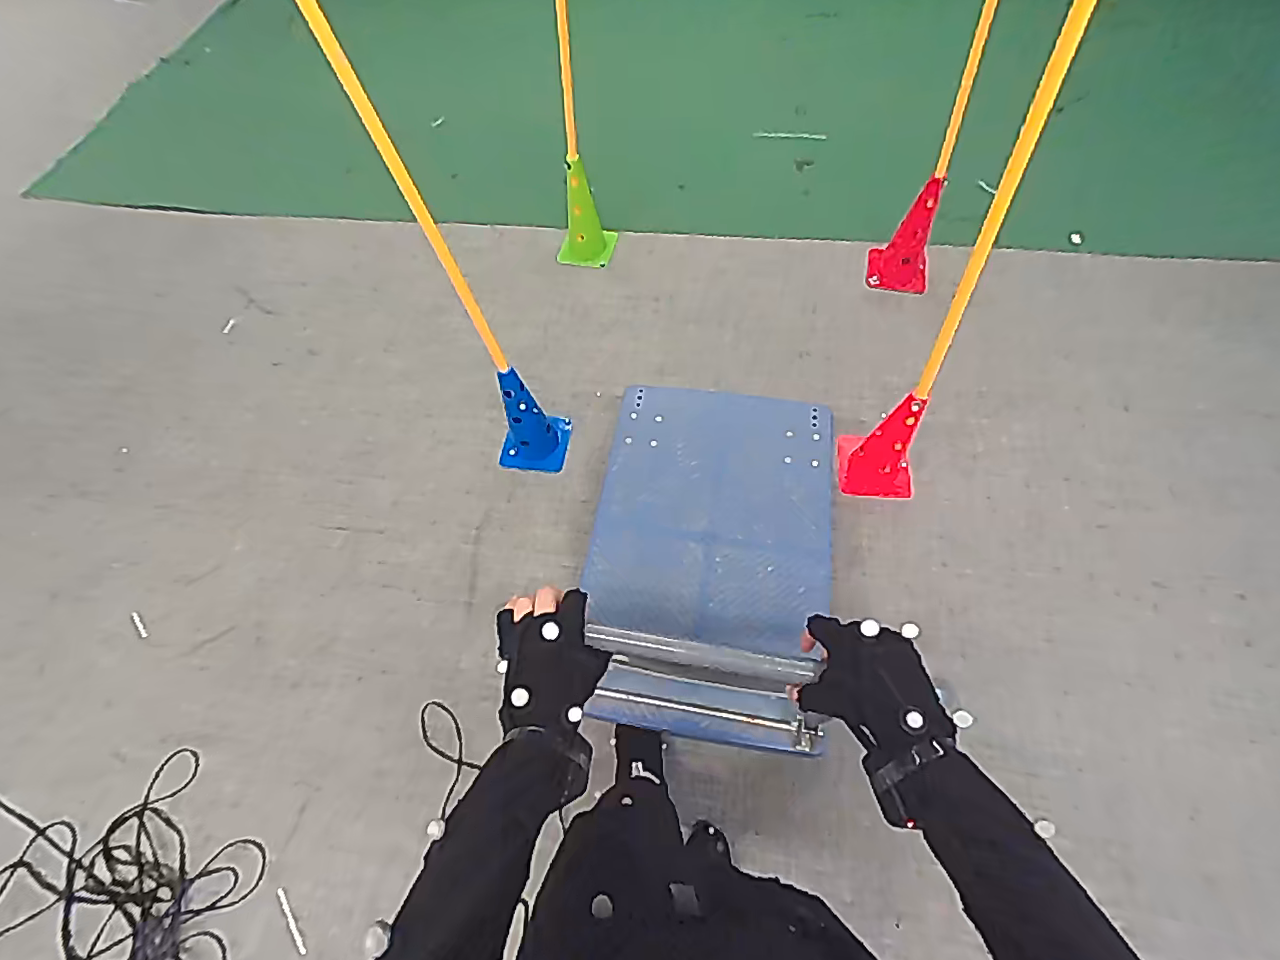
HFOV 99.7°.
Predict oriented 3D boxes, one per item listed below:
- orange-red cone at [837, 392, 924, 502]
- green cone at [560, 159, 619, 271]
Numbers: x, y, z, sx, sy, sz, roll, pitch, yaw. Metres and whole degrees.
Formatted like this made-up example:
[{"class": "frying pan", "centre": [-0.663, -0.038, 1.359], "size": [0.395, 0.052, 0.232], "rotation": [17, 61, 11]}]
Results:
[{"class": "orange-red cone", "centre": [0.666, -0.109, 1.435], "size": [0.199, 0.360, 0.198], "rotation": [5, 62, 8]}, {"class": "green cone", "centre": [-0.206, -0.963, 1.935], "size": [0.202, 0.368, 0.200], "rotation": [9, 63, 9]}]
